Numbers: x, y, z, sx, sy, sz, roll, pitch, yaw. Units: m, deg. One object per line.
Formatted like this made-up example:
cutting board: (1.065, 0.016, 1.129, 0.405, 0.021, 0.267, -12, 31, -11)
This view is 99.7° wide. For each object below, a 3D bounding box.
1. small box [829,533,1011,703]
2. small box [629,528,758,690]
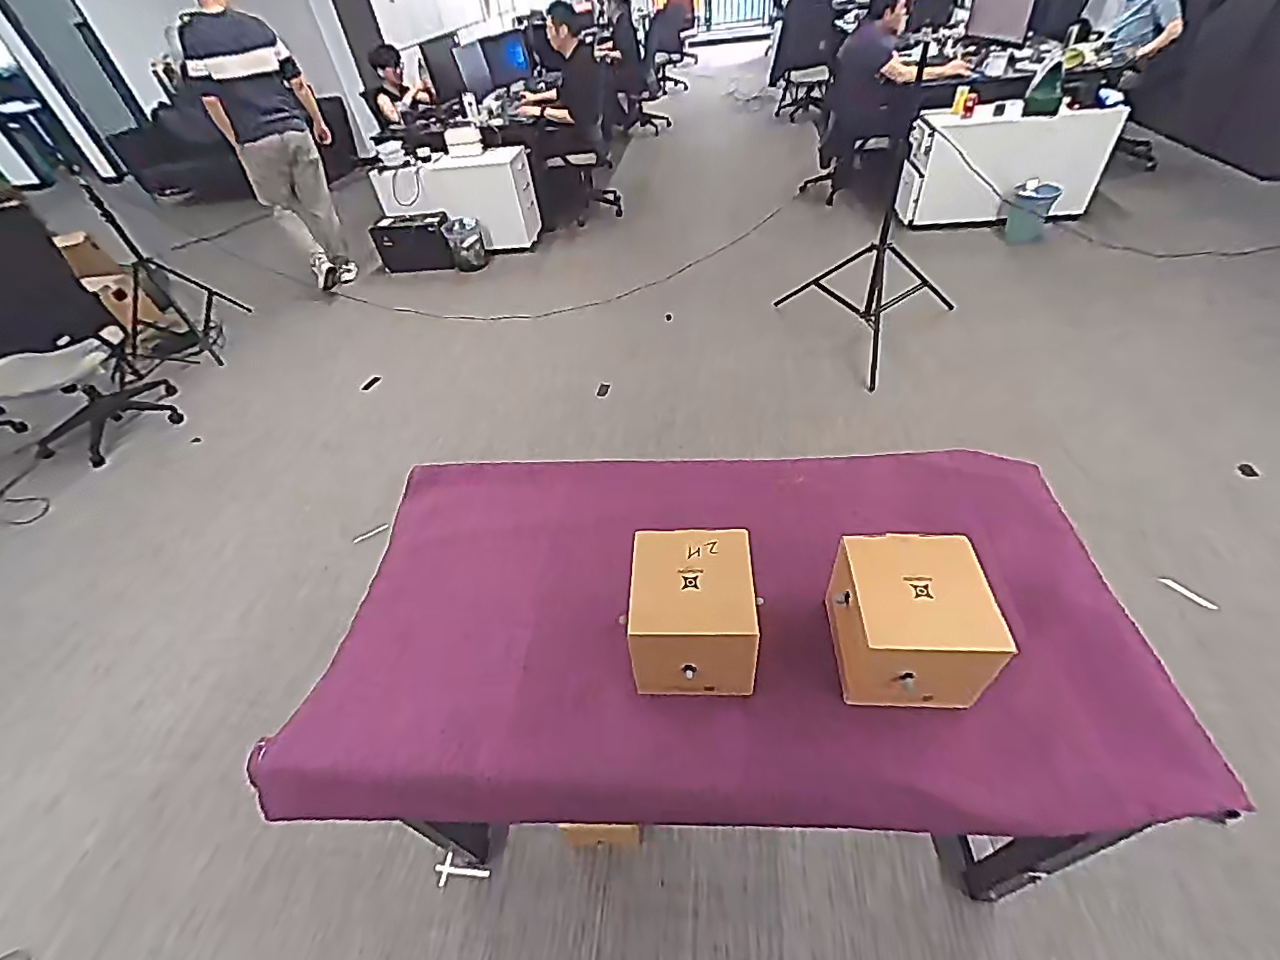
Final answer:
small box: (0.368, 0.193, 0.751, 0.168, 0.176, 0.179, -1, 44, 7)
small box: (0.080, 0.190, 0.792, 0.168, 0.176, 0.179, -1, 43, 6)
